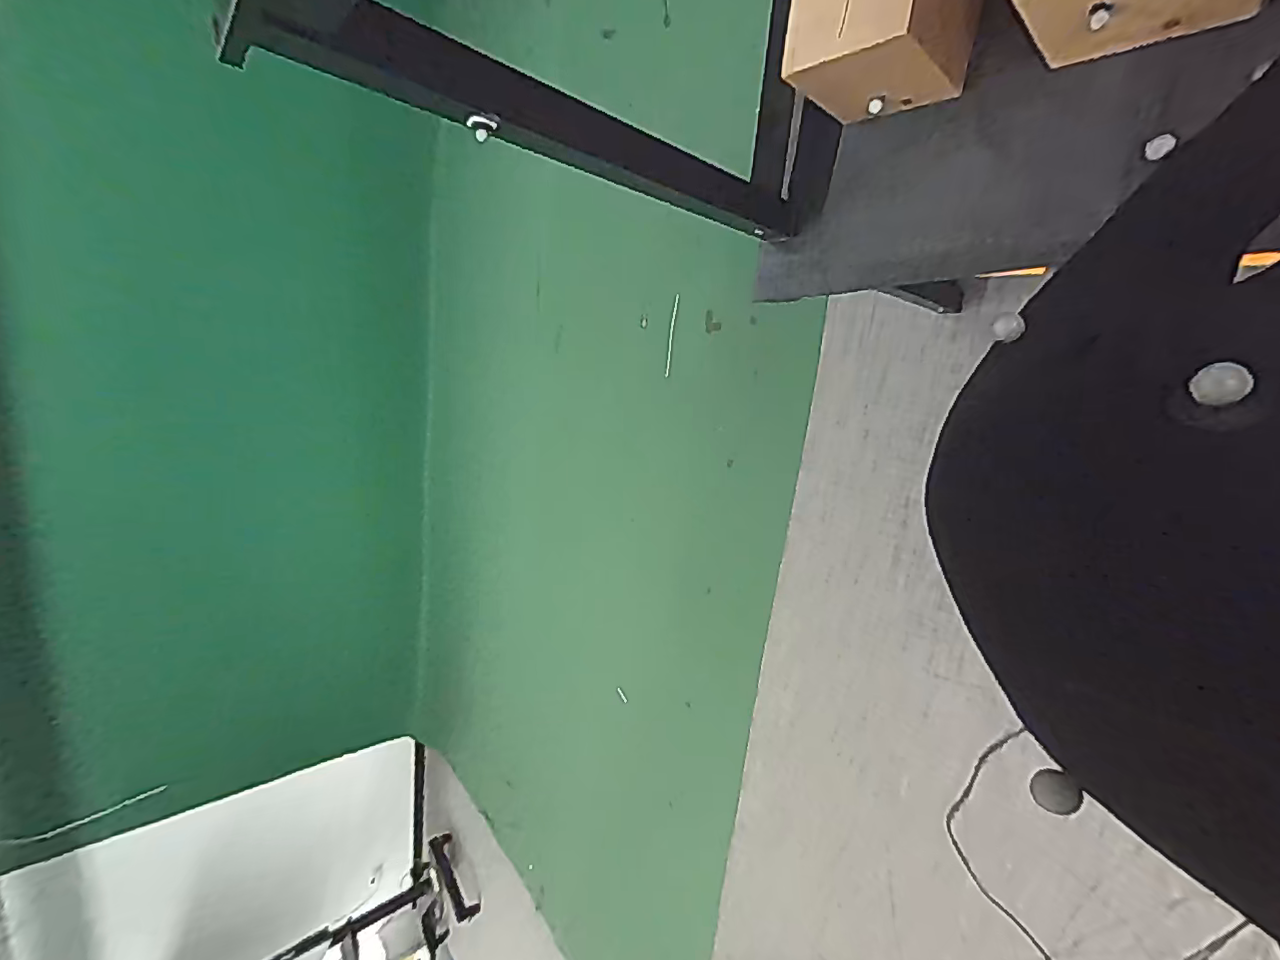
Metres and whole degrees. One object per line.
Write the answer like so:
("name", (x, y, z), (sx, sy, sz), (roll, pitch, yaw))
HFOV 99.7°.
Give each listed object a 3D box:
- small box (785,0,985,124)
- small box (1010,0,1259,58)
("small box", (0.311, -0.588, 0.678), (0.168, 0.176, 0.179), (20, 109, 46))
("small box", (0.478, -0.531, 0.496), (0.168, 0.176, 0.179), (20, 108, 46))
